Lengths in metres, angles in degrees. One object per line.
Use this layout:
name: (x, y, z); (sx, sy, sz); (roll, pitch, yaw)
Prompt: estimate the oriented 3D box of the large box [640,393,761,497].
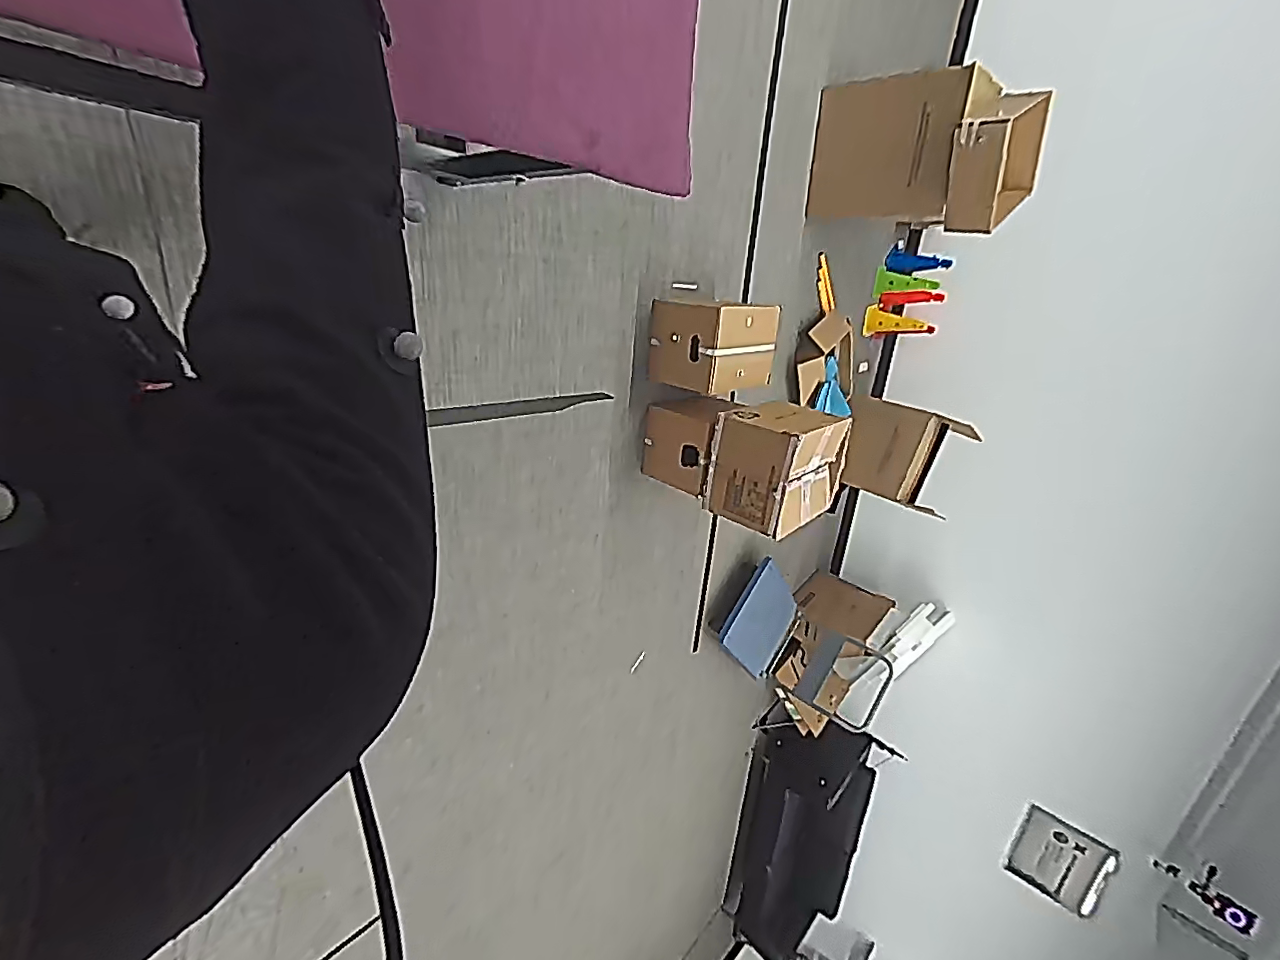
large box: (0.253, -0.167, 2.283); (0.408, 0.320, 0.320); (-17, 121, -44)
